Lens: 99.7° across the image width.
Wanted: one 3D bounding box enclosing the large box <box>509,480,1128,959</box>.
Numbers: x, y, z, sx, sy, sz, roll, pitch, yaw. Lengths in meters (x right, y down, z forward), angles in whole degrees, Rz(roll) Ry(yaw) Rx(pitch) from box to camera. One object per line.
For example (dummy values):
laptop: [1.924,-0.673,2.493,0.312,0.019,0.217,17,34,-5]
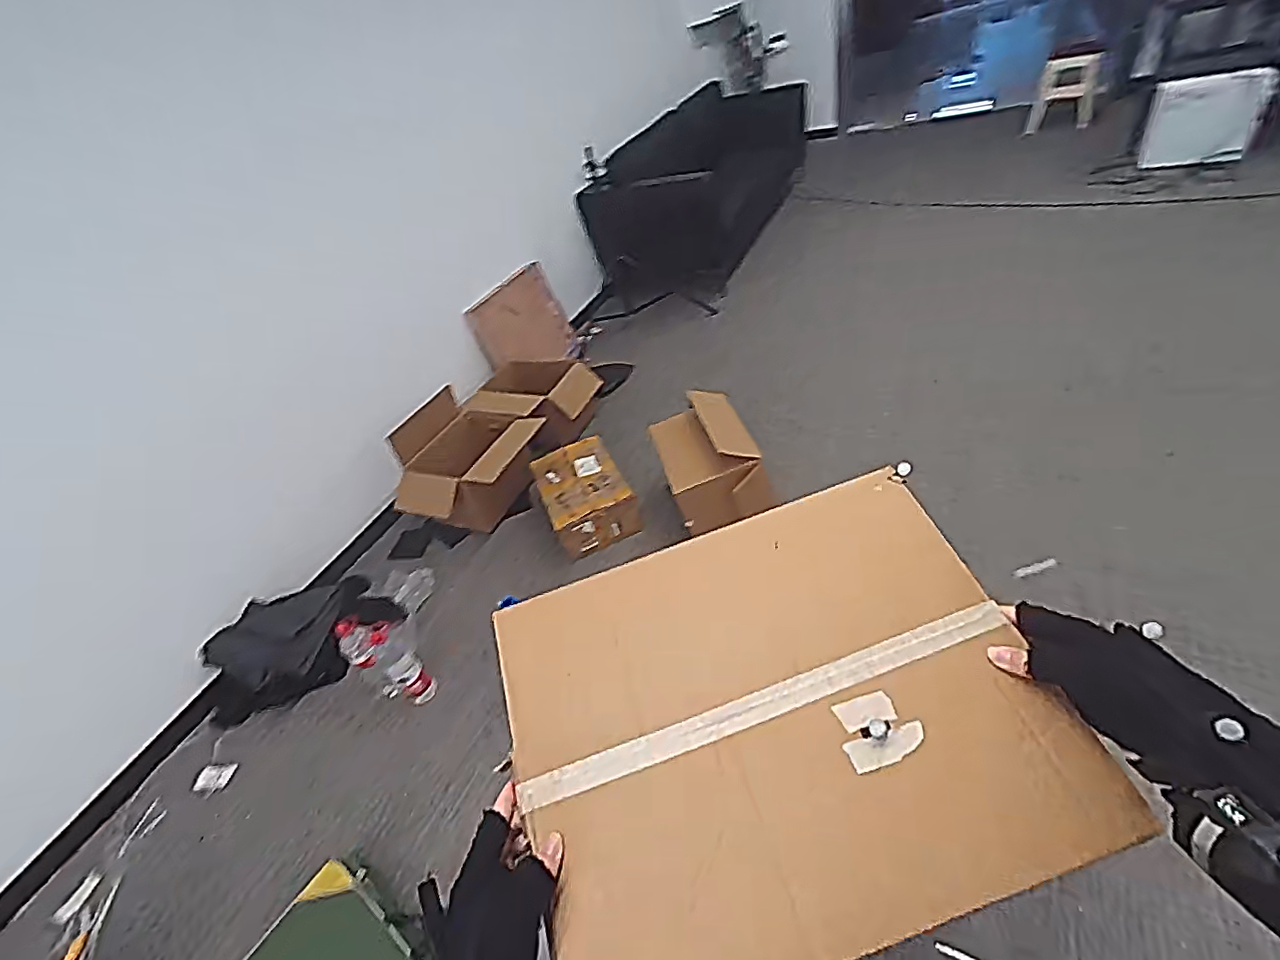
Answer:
large box: [0.127,0.264,0.564,0.408,0.320,0.320,-20,56,-2]
